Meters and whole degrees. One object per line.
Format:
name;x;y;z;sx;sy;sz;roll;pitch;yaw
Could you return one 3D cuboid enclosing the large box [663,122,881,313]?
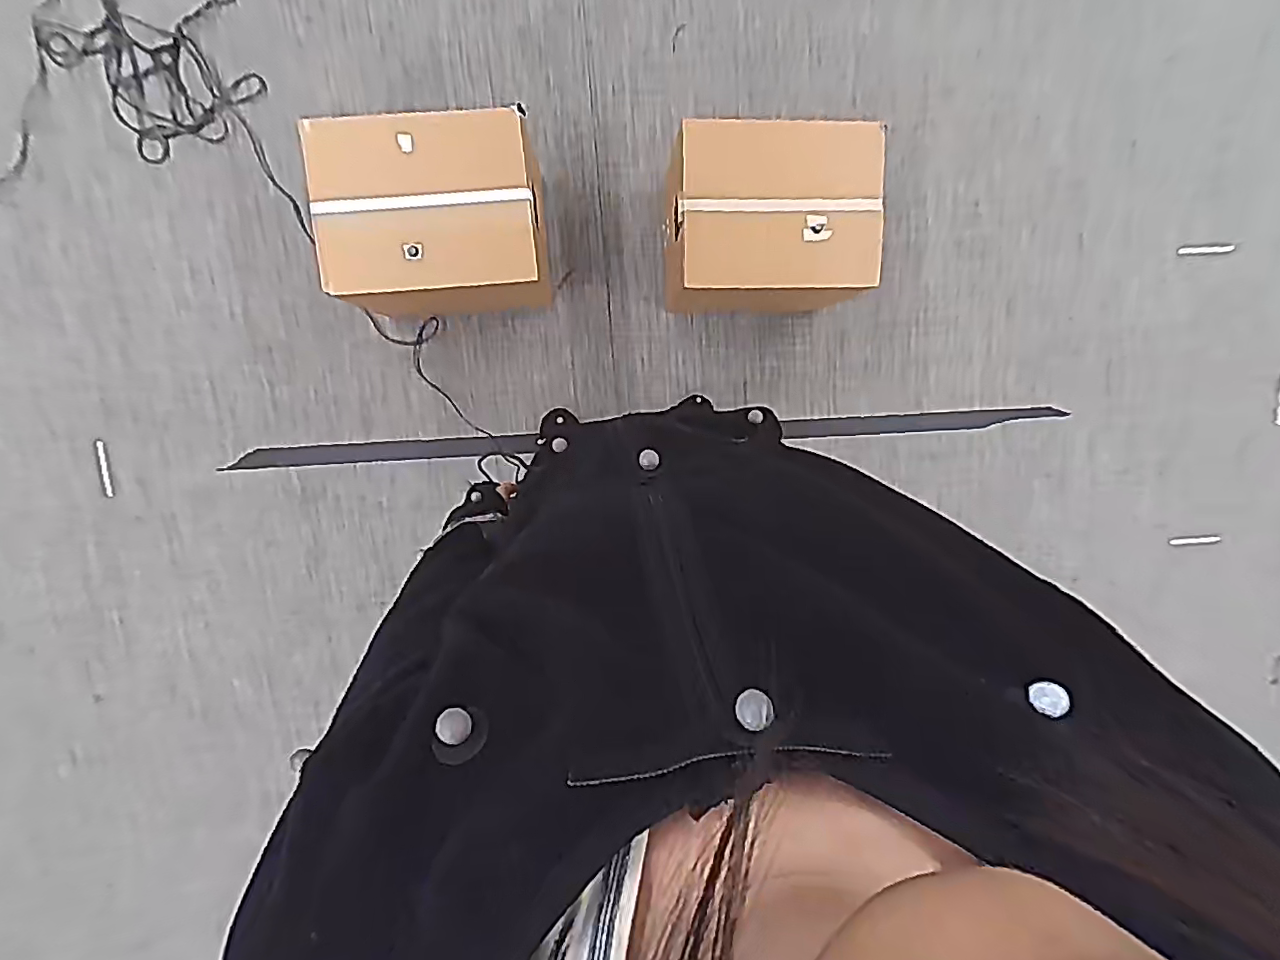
large box;0.272;-0.565;1.222;0.408;0.320;0.320;-2;99;-5
